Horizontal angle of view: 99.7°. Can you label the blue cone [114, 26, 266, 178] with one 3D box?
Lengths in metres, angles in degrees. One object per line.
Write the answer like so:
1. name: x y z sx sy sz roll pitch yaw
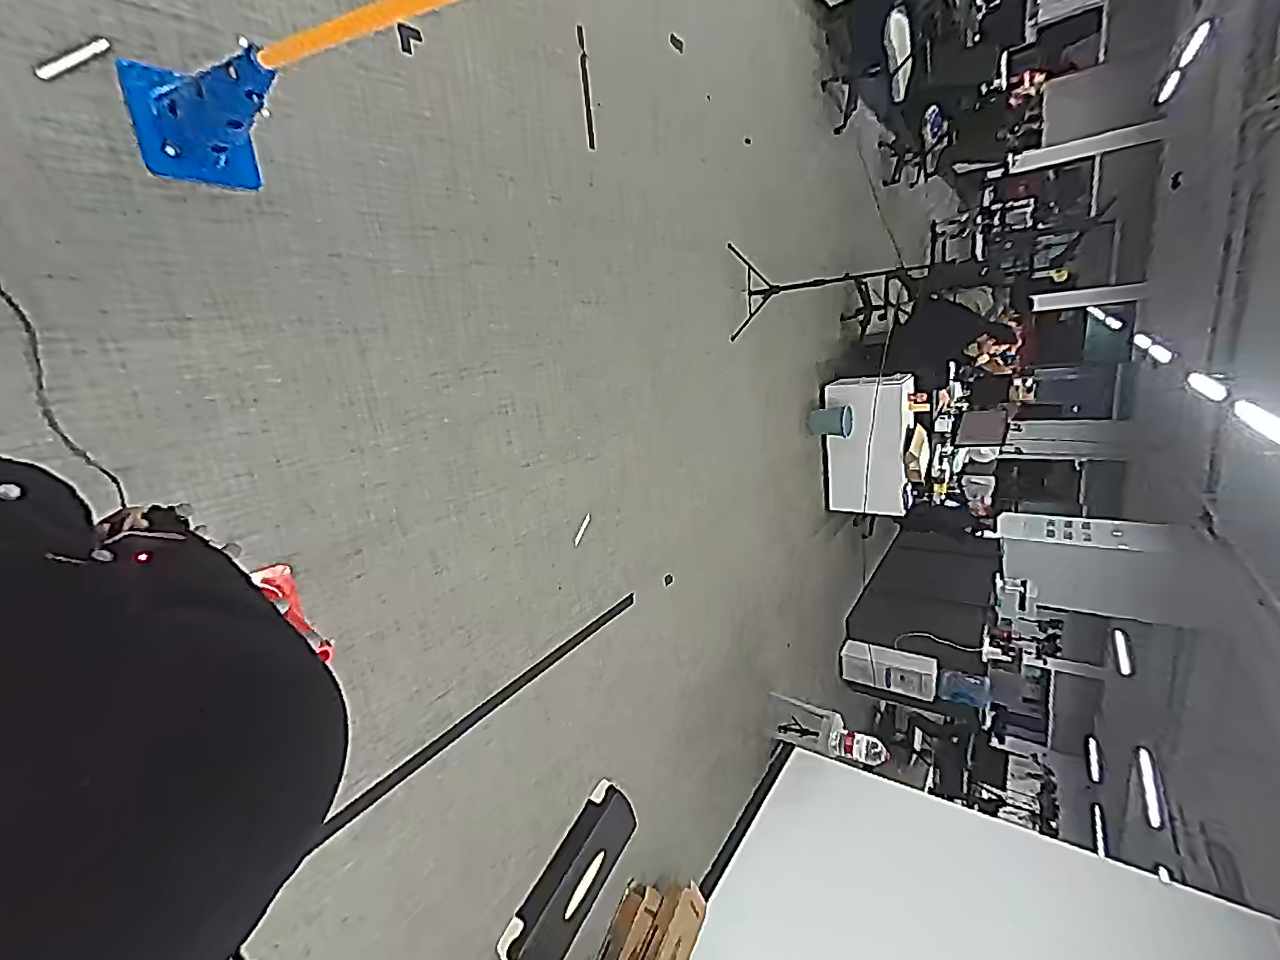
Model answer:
1. blue cone: -0.769 -0.709 0.981 0.193 0.380 0.192 -21 109 -52
